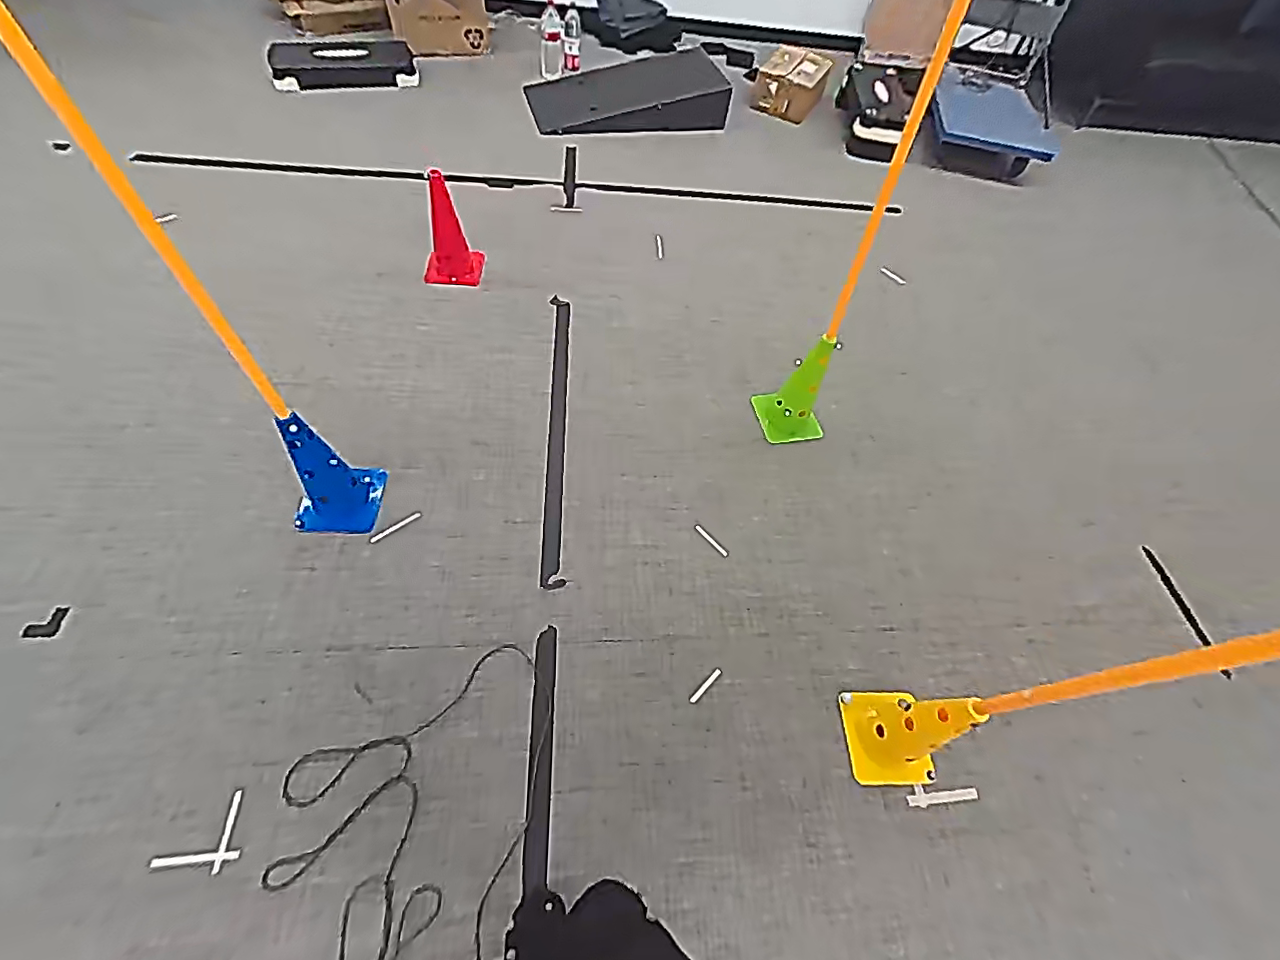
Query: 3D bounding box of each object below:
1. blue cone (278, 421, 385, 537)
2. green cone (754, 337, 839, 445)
[{"bbox_3d":[-0.785,-0.023,1.329,0.193,0.380,0.192,3,57,-5],"label":"blue cone"},{"bbox_3d":[0.512,-0.297,1.657,0.200,0.368,0.202,-8,60,-12],"label":"green cone"}]
